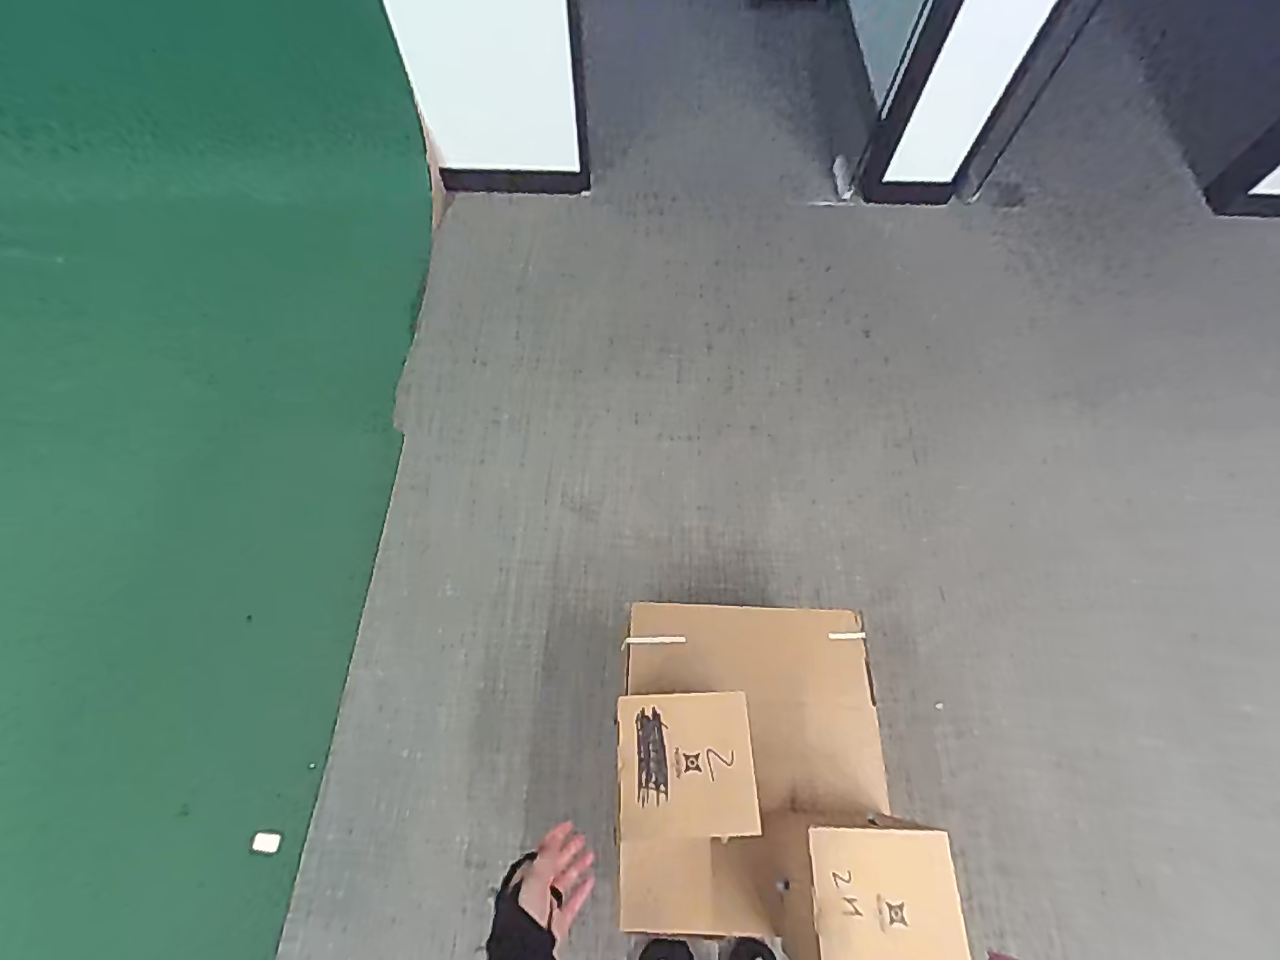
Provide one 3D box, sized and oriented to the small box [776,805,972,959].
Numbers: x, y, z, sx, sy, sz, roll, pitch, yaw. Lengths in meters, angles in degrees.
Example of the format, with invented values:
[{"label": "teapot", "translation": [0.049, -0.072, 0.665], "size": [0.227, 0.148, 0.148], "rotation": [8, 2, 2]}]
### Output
[{"label": "small box", "translation": [0.287, 0.526, 0.700], "size": [0.179, 0.176, 0.168], "rotation": [2, 64, 0]}]
